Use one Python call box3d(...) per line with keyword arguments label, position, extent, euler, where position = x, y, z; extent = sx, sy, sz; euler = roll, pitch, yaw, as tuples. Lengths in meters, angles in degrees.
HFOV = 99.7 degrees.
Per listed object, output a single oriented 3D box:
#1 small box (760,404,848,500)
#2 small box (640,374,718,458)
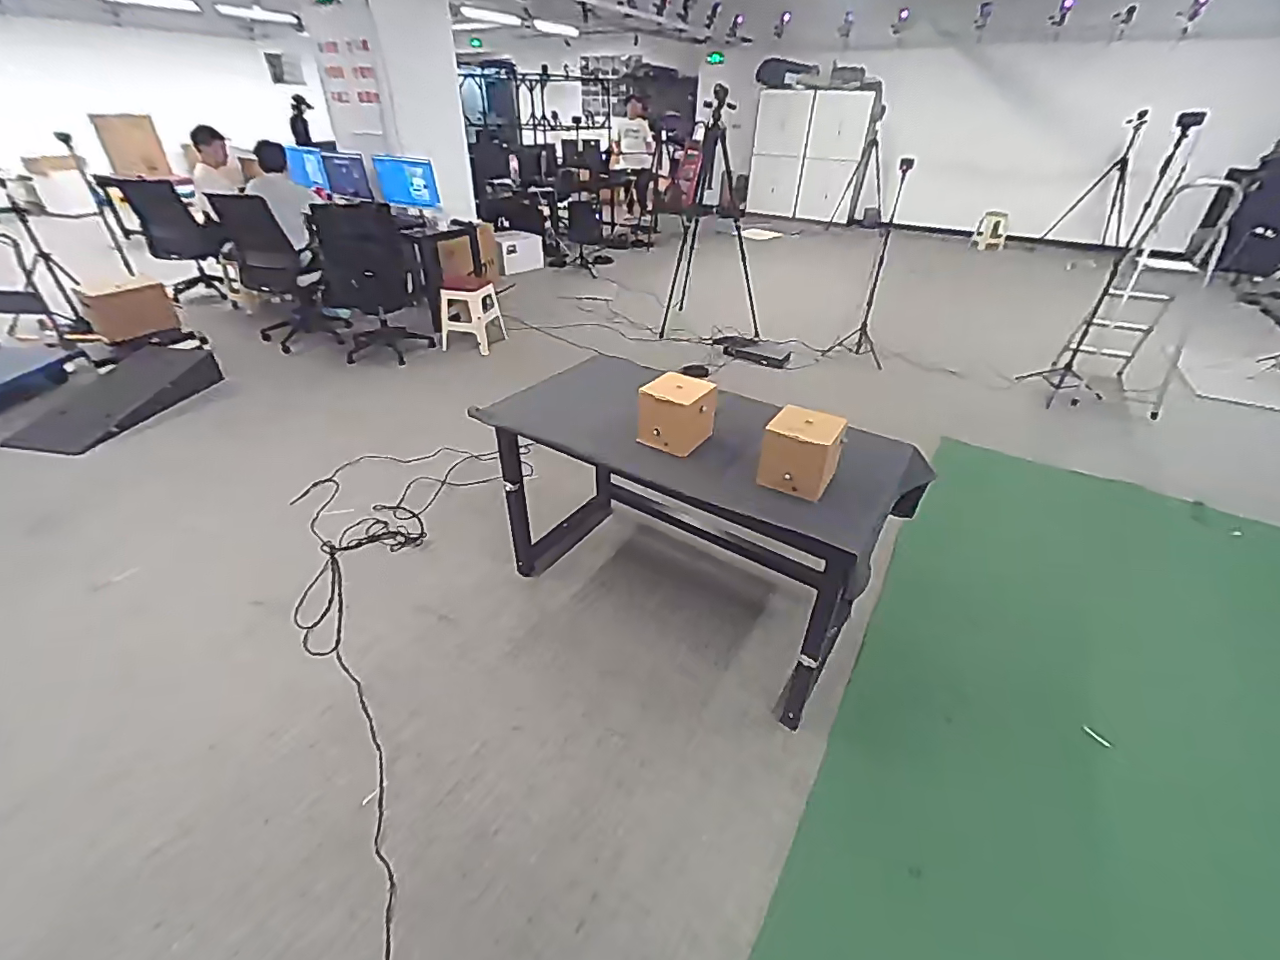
box3d(label="small box", position=(0.425, -0.075, 1.414), extent=(0.168, 0.176, 0.179), euler=(19, 38, 27))
box3d(label="small box", position=(0.110, -0.189, 1.587), extent=(0.168, 0.176, 0.179), euler=(21, 39, 27))
